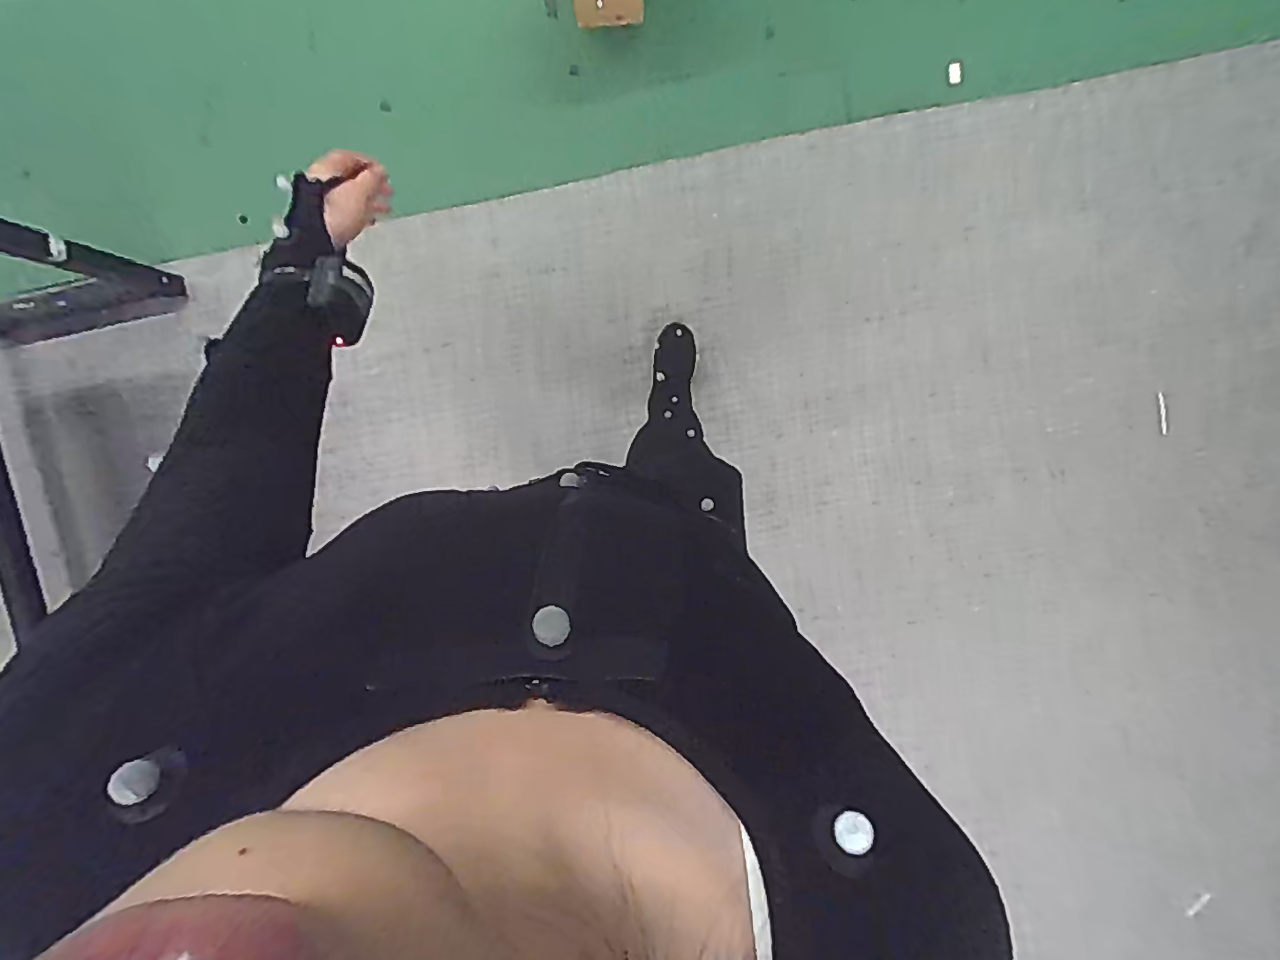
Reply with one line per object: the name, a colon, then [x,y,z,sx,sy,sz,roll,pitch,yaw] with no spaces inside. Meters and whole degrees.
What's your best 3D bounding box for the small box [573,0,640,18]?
small box: [-0.086,-1.237,1.276,0.168,0.176,0.179,-3,95,1]
